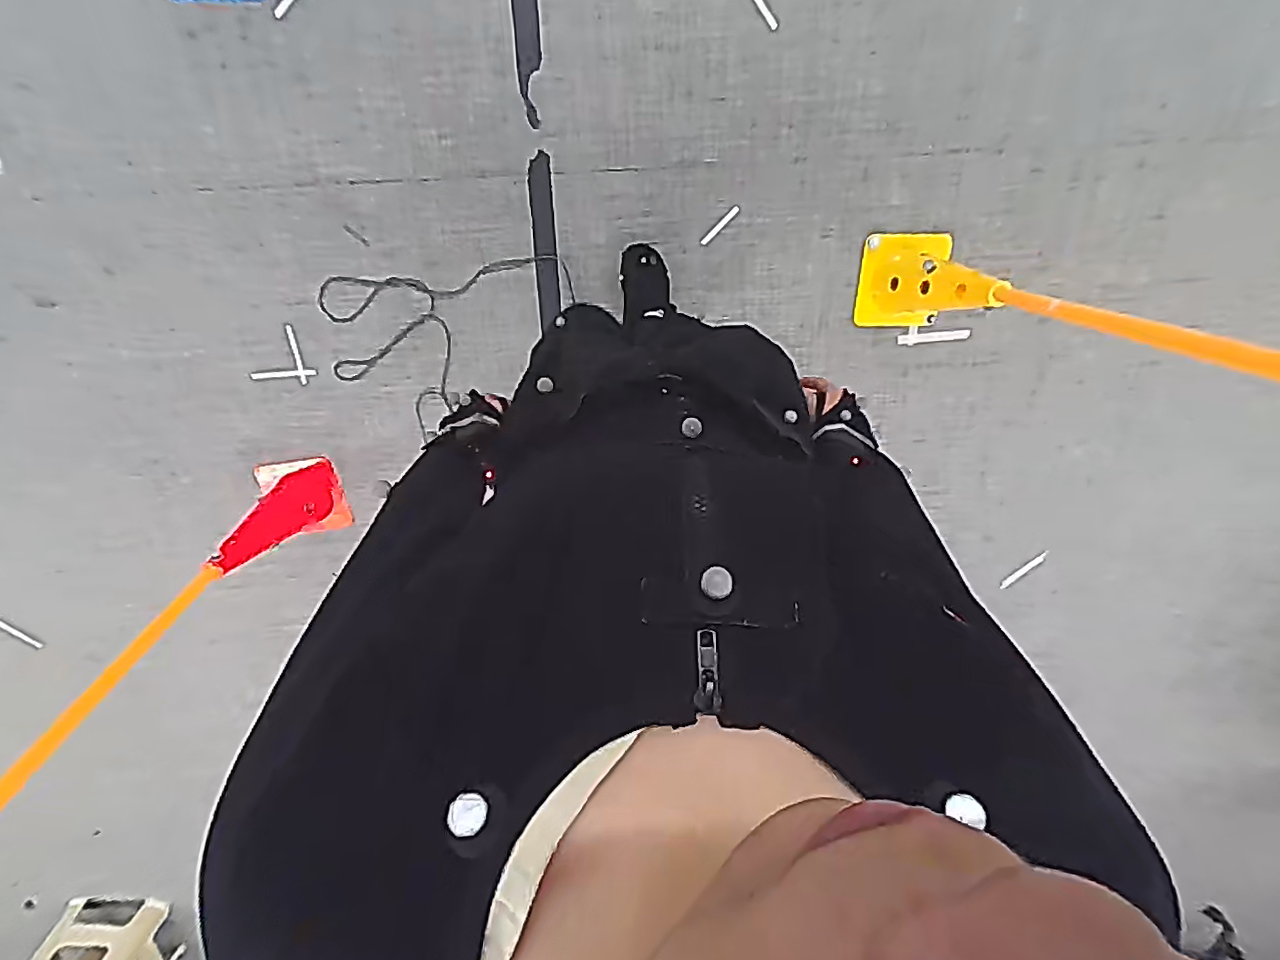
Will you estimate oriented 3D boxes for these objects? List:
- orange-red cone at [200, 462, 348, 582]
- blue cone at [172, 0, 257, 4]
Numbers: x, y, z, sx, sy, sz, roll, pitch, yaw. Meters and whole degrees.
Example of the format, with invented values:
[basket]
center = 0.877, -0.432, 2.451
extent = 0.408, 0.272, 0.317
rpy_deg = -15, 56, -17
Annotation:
[orange-red cone]
center = -0.864, 0.118, 1.235
extent = 0.199, 0.360, 0.198
rpy_deg = -8, 114, 0
[blue cone]
center = -0.782, -0.907, 0.814
extent = 0.193, 0.380, 0.192
rpy_deg = 0, 114, -2
